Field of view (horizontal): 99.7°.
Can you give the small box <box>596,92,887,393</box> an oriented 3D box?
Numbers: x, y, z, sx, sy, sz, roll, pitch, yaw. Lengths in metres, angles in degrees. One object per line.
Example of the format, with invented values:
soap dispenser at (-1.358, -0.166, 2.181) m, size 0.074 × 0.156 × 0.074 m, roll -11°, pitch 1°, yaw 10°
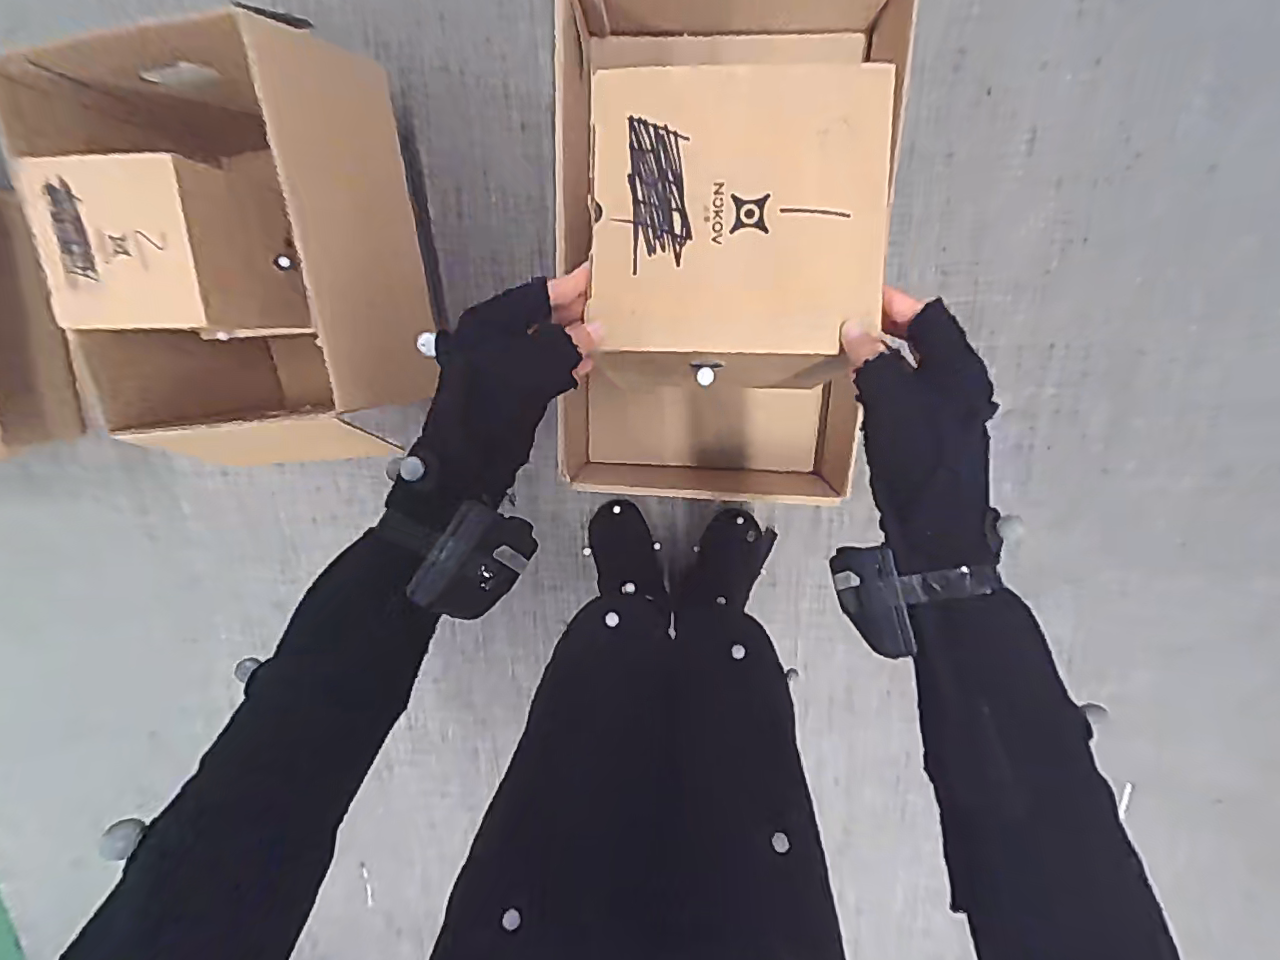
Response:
small box at (0.067, -0.161, 0.419) m, size 0.179 × 0.176 × 0.168 m, roll 3°, pitch 92°, yaw 3°
